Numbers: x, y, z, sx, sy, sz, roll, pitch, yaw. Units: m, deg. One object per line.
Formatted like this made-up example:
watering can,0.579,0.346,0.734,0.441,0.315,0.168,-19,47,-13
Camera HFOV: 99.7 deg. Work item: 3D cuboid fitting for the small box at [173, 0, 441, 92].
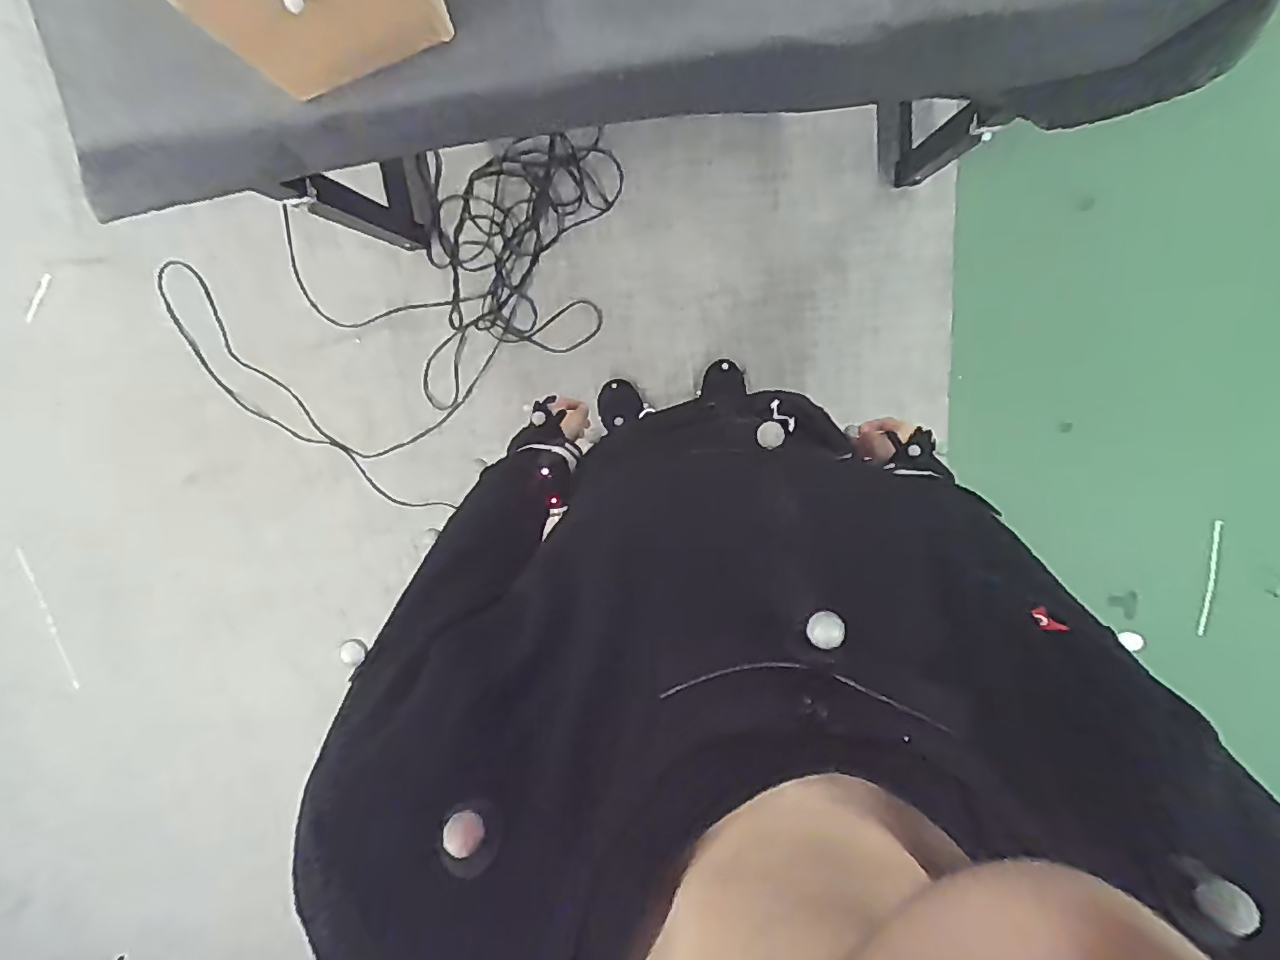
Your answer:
small box,-0.289,-0.472,0.448,0.179,0.176,0.168,-17,101,7
